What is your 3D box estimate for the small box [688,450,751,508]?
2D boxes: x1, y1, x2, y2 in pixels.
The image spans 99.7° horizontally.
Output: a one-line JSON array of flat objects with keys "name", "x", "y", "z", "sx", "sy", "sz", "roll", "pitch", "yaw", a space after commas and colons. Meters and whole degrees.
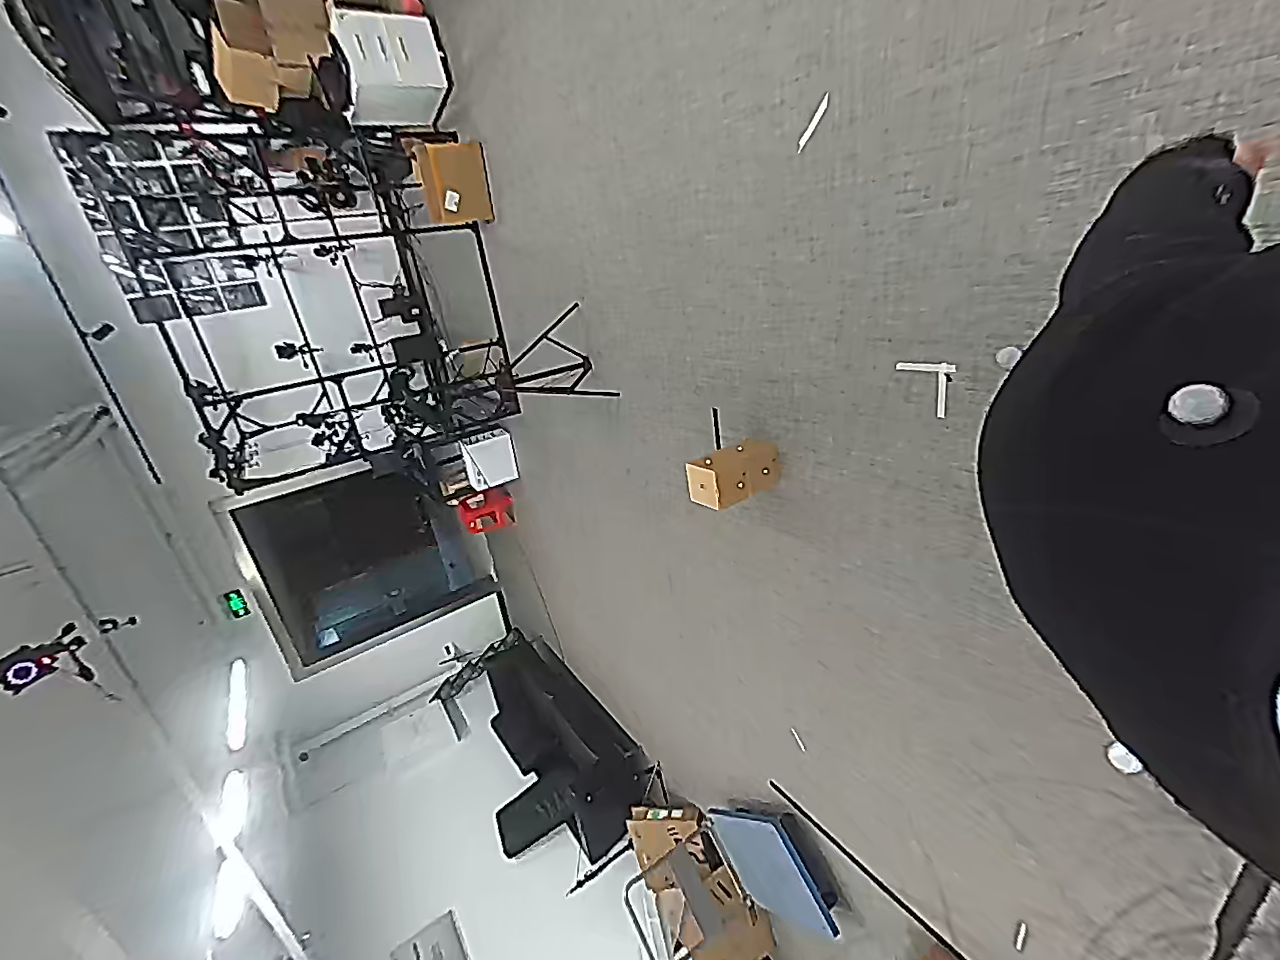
[{"name": "small box", "x": 0.312, "y": -0.011, "z": 2.122, "sx": 0.179, "sy": 0.176, "sz": 0.168, "roll": 20, "pitch": 126, "yaw": 53}]

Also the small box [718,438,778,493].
[{"name": "small box", "x": 0.446, "y": -0.064, "z": 2.198, "sx": 0.179, "sy": 0.176, "sz": 0.168, "roll": 20, "pitch": 125, "yaw": 55}]
